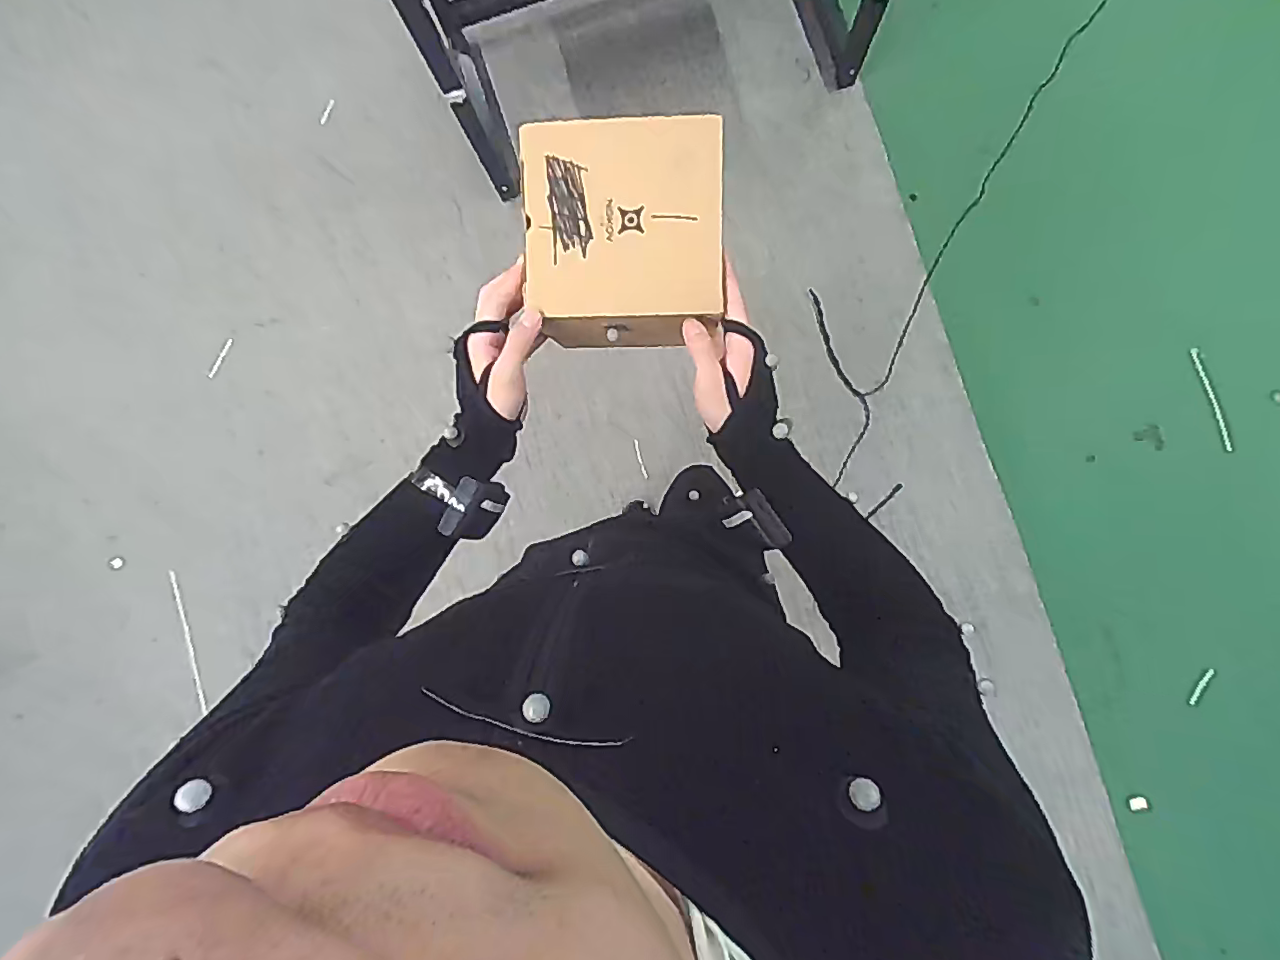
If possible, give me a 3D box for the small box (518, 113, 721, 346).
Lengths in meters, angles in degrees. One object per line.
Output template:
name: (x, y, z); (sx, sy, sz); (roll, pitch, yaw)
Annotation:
small box: (-0.013, -0.231, 0.542); (0.179, 0.176, 0.168); (0, 95, 3)
